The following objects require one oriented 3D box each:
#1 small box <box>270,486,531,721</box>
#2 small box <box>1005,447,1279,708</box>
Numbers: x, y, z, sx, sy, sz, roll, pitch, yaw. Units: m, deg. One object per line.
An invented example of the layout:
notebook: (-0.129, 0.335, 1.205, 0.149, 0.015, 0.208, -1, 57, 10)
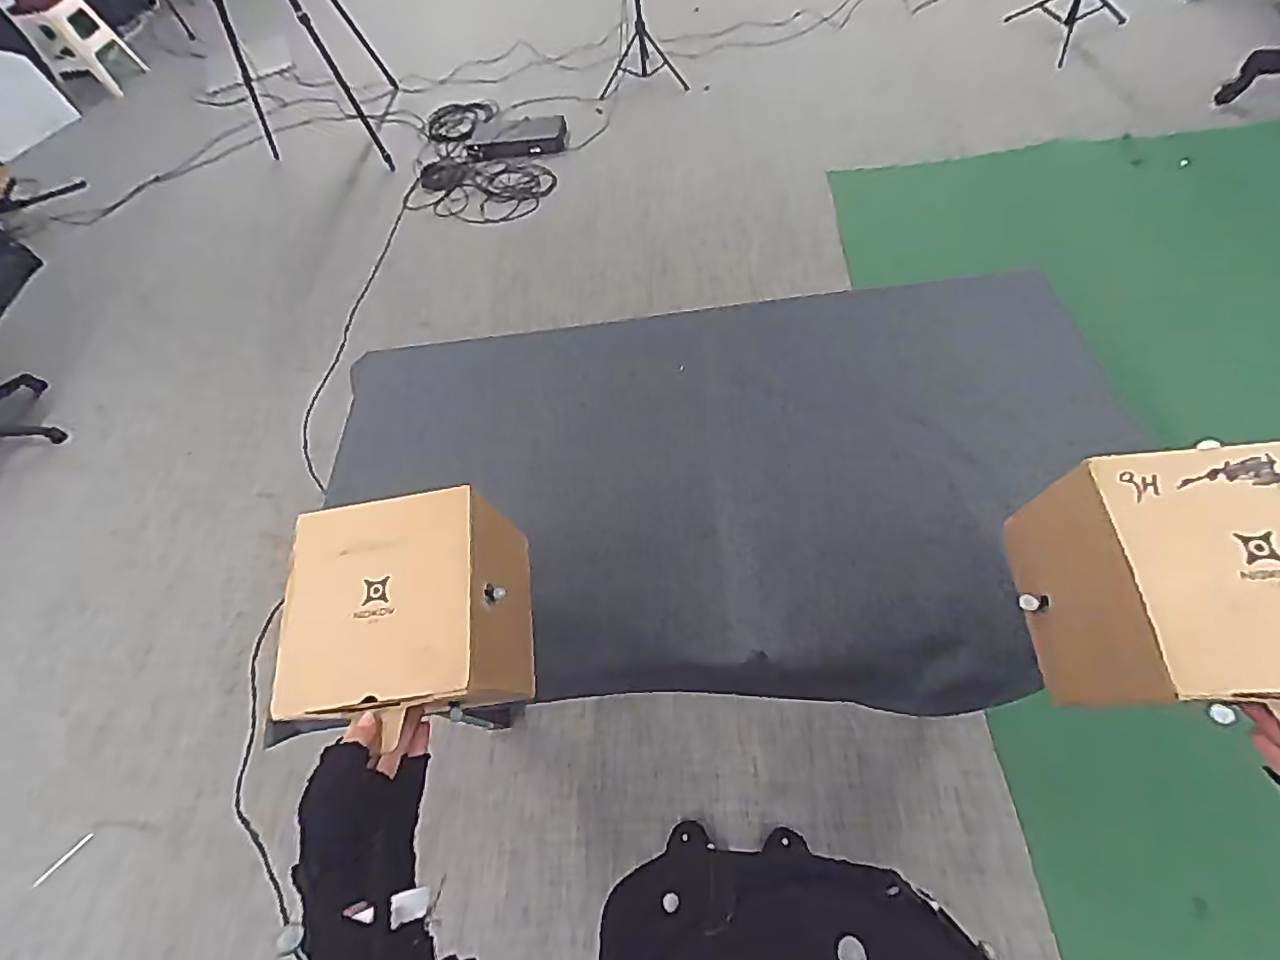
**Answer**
small box: (-0.208, 0.127, 0.521, 0.168, 0.176, 0.179, -10, 65, 3)
small box: (0.439, 0.088, 0.442, 0.168, 0.176, 0.179, -5, 67, 9)
